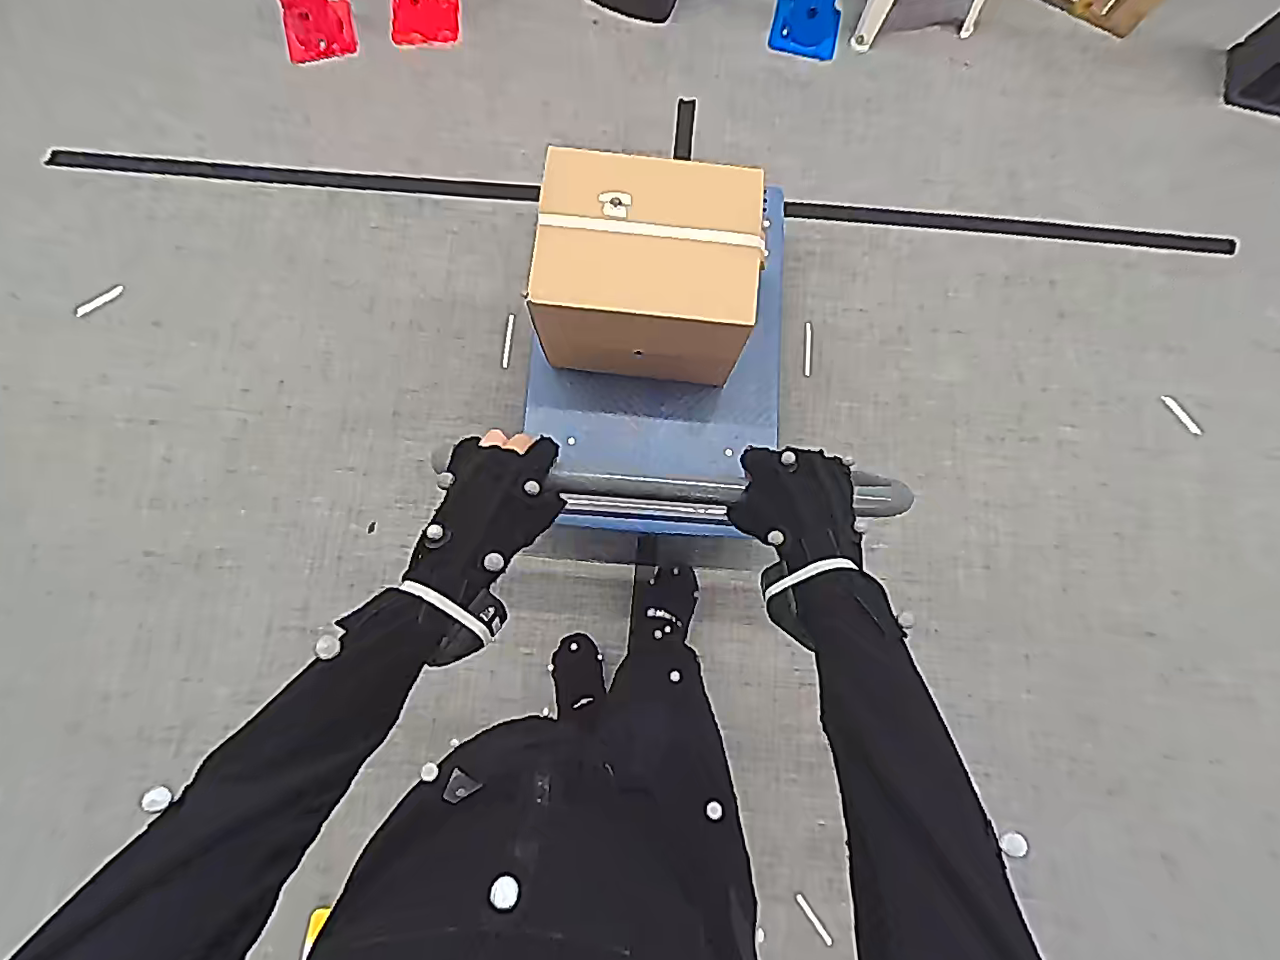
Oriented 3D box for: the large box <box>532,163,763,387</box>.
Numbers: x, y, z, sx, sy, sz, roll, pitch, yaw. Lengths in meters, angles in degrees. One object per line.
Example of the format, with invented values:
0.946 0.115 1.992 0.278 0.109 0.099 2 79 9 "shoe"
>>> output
0.018 -0.400 1.127 0.408 0.320 0.320 6 80 0 "large box"
